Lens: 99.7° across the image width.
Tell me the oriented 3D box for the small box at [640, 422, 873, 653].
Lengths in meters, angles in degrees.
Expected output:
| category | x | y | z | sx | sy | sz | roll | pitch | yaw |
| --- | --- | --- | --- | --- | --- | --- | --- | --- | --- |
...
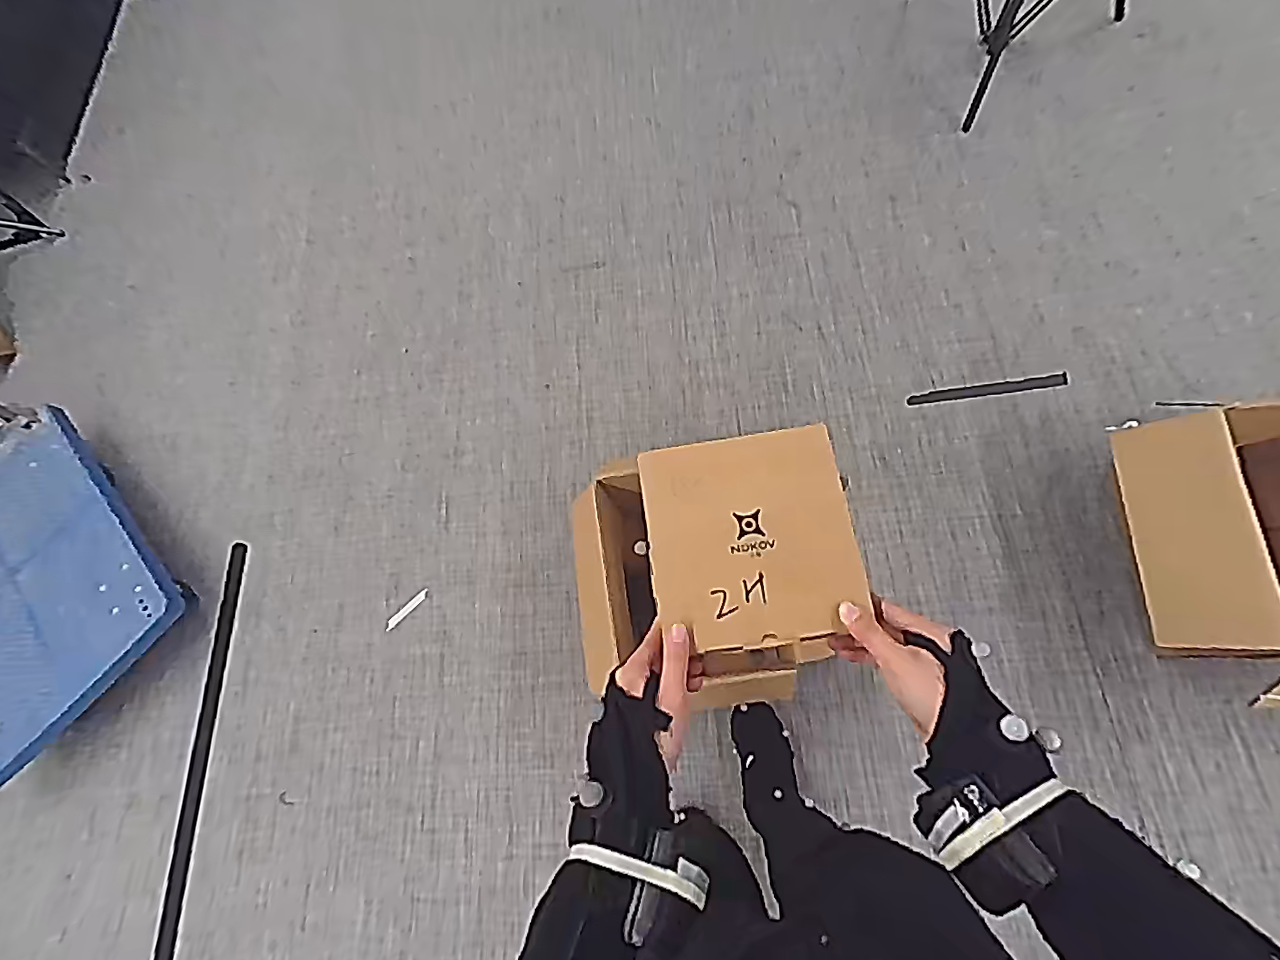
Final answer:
| category | x | y | z | sx | sy | sz | roll | pitch | yaw |
| --- | --- | --- | --- | --- | --- | --- | --- | --- | --- |
| small box | 0.095 | 0.066 | 0.519 | 0.168 | 0.176 | 0.179 | -9 | 72 | 3 |
